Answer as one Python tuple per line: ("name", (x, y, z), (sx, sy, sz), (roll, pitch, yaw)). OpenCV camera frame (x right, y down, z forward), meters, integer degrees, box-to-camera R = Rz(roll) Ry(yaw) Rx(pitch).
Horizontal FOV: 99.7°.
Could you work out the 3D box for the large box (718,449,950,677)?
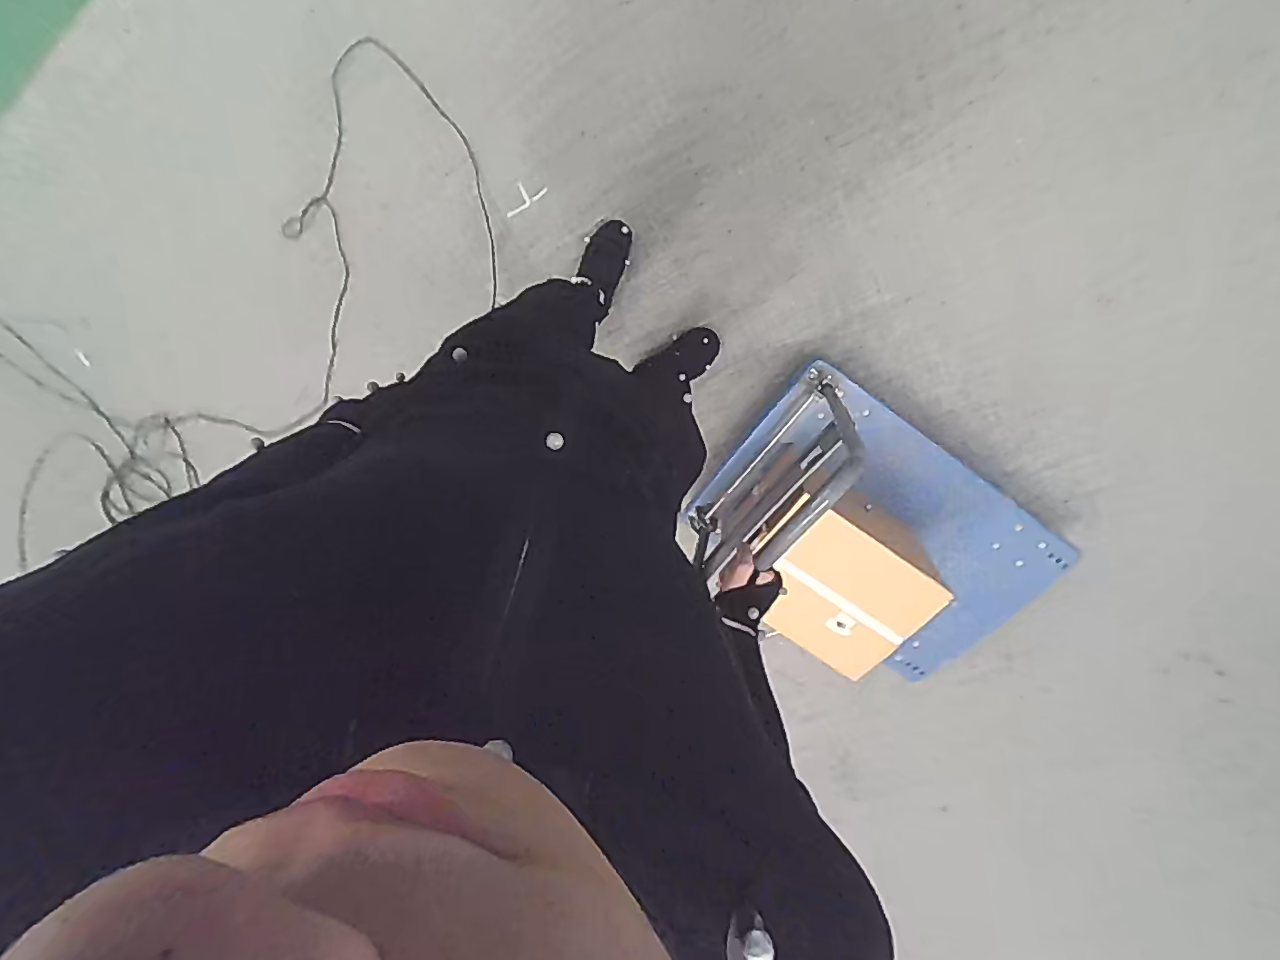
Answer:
("large box", (0.439, 0.188, 1.329), (0.408, 0.320, 0.320), (34, 115, -6))
